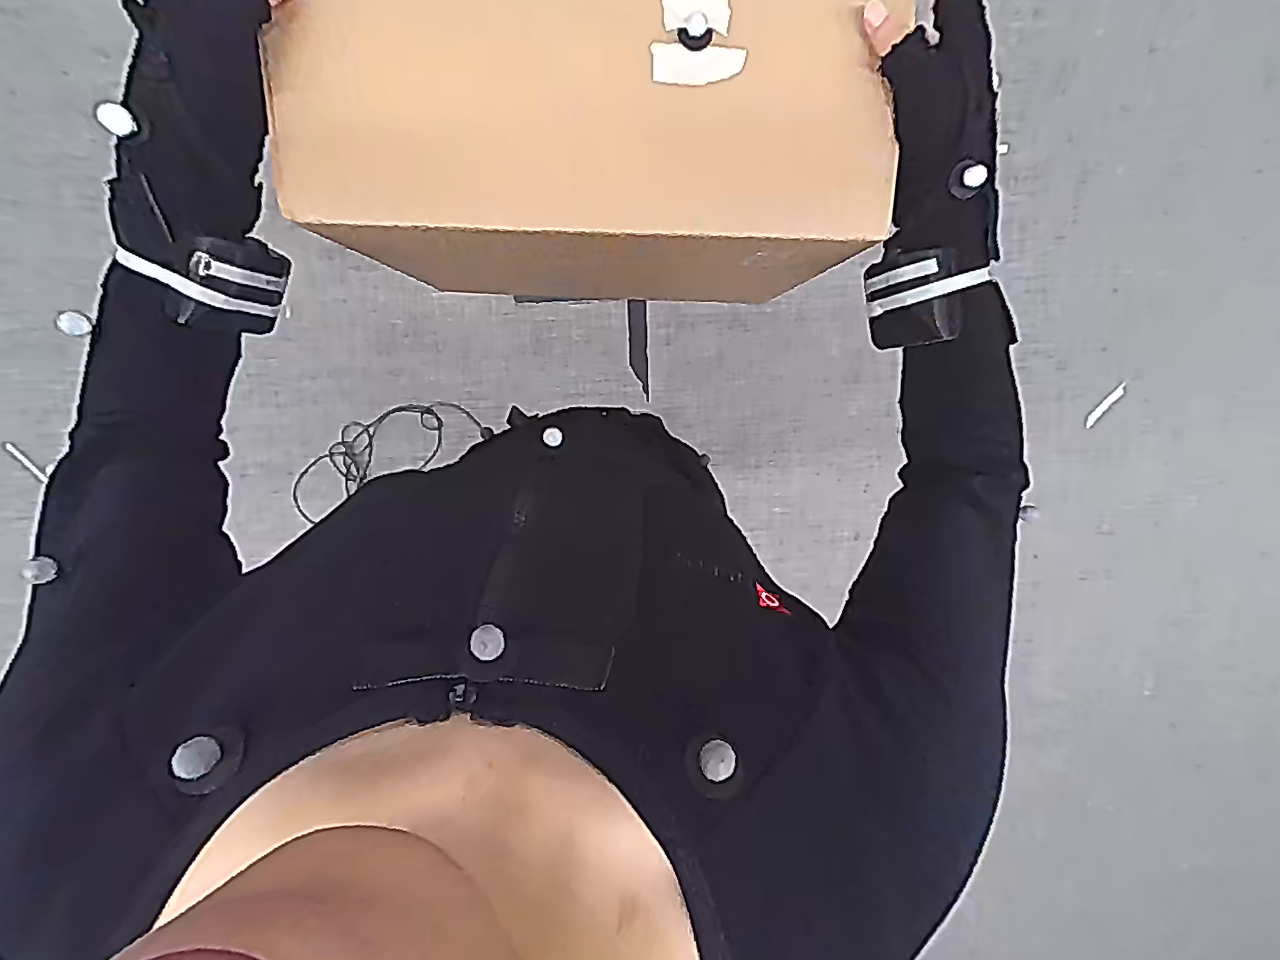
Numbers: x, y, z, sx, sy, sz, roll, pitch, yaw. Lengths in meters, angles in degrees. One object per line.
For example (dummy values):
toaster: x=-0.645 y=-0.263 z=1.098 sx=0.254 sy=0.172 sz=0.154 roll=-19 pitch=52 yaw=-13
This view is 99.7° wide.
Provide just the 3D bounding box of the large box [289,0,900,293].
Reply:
large box: x=-0.032 y=-0.356 z=0.494 sx=0.408 sy=0.320 sz=0.320 roll=1 pitch=101 yaw=-2
